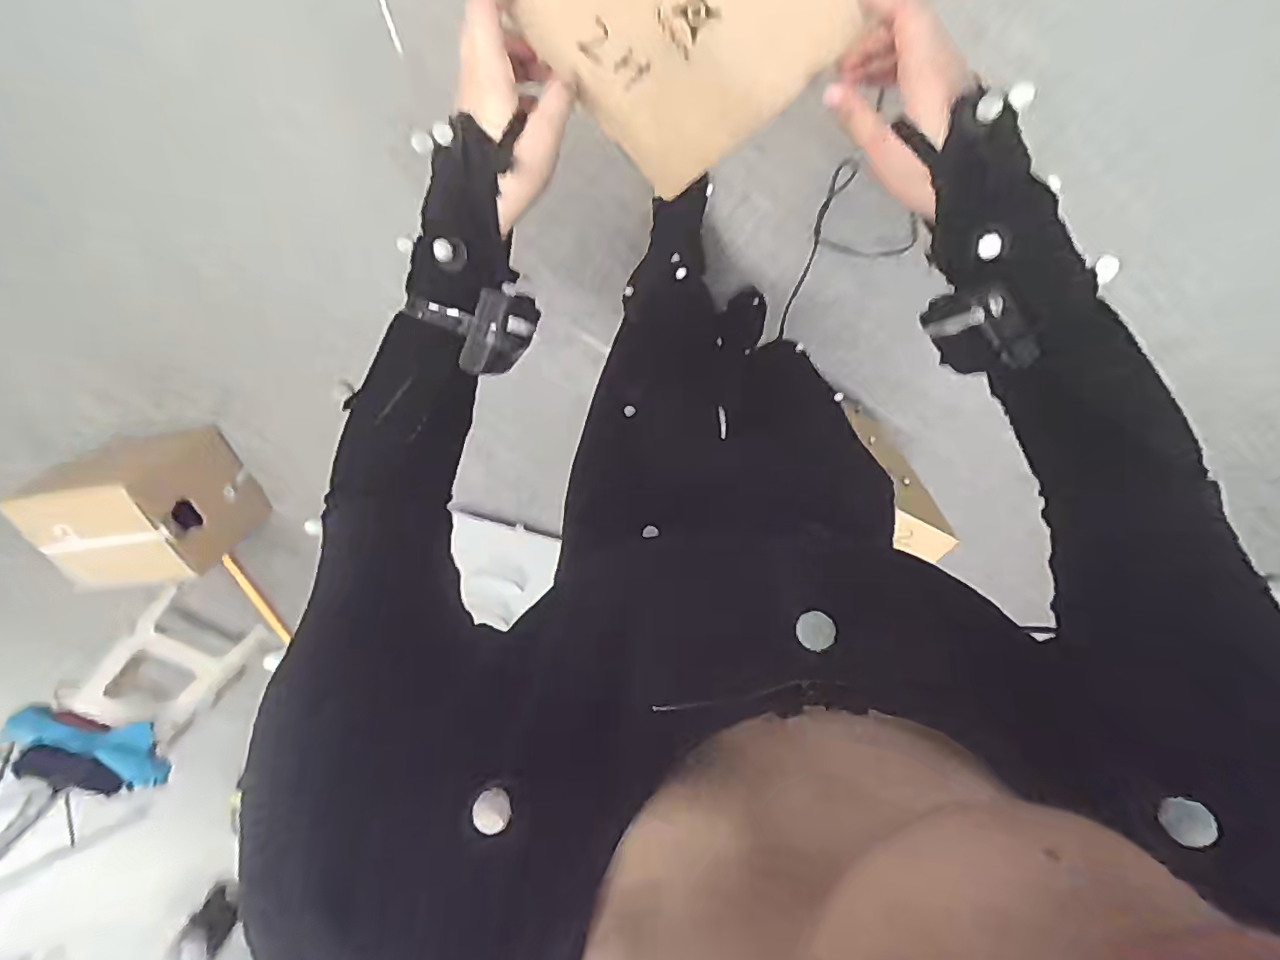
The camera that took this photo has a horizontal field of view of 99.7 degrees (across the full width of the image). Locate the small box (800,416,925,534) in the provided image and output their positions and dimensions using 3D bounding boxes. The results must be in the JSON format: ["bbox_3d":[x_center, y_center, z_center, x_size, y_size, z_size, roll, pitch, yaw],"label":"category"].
[{"bbox_3d":[0.479,-0.018,1.196,0.179,0.176,0.168,26,123,-13],"label":"small box"}]

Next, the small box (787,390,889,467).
[{"bbox_3d":[0.488,-0.100,1.337,0.179,0.176,0.168,30,122,-13],"label":"small box"}]
